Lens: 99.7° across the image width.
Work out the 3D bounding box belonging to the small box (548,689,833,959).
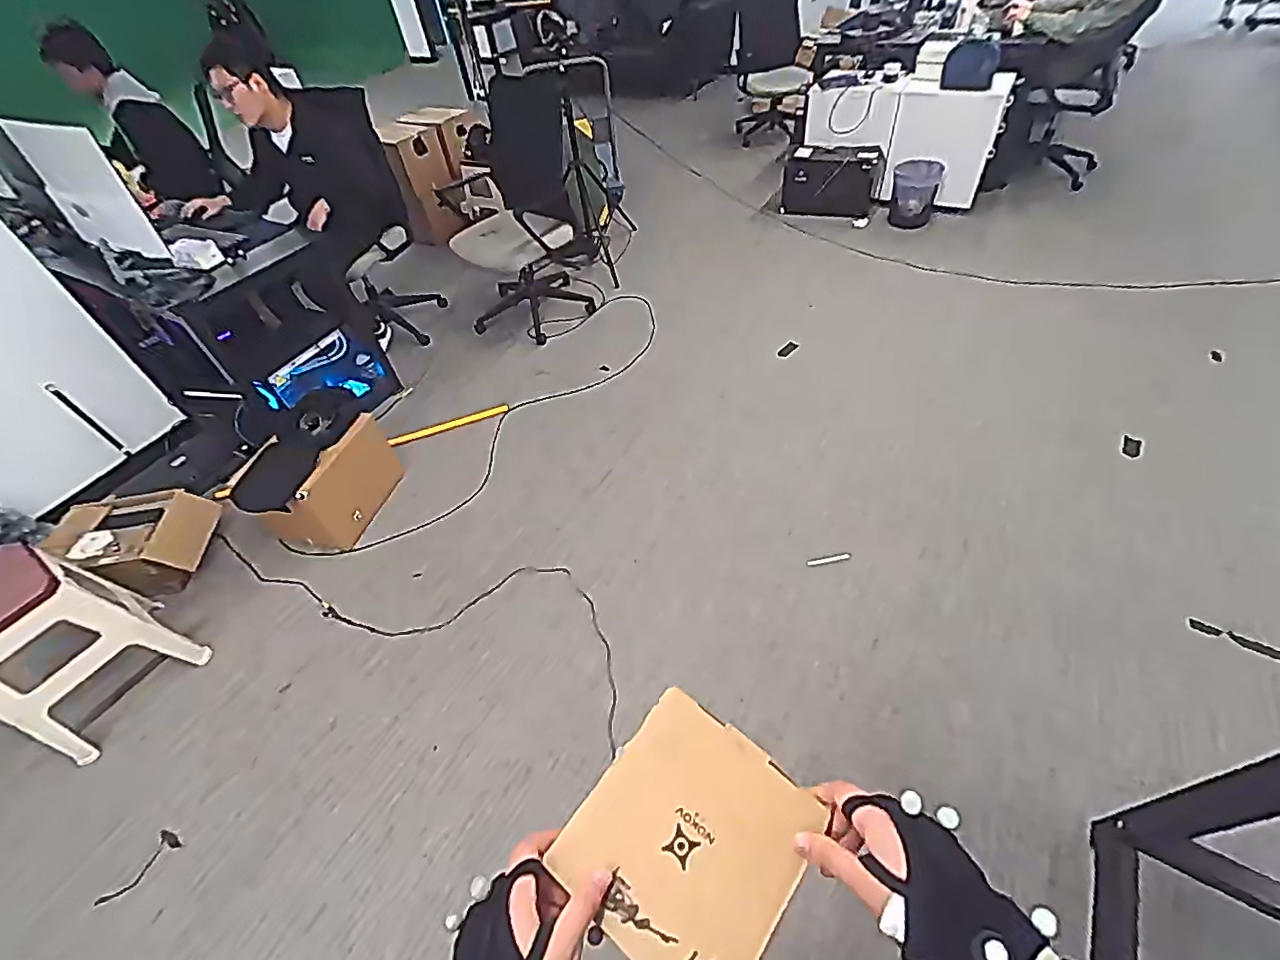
[{"bbox_3d":[0.044,0.330,0.494,0.168,0.176,0.179,32,63,23],"label":"small box"}]
